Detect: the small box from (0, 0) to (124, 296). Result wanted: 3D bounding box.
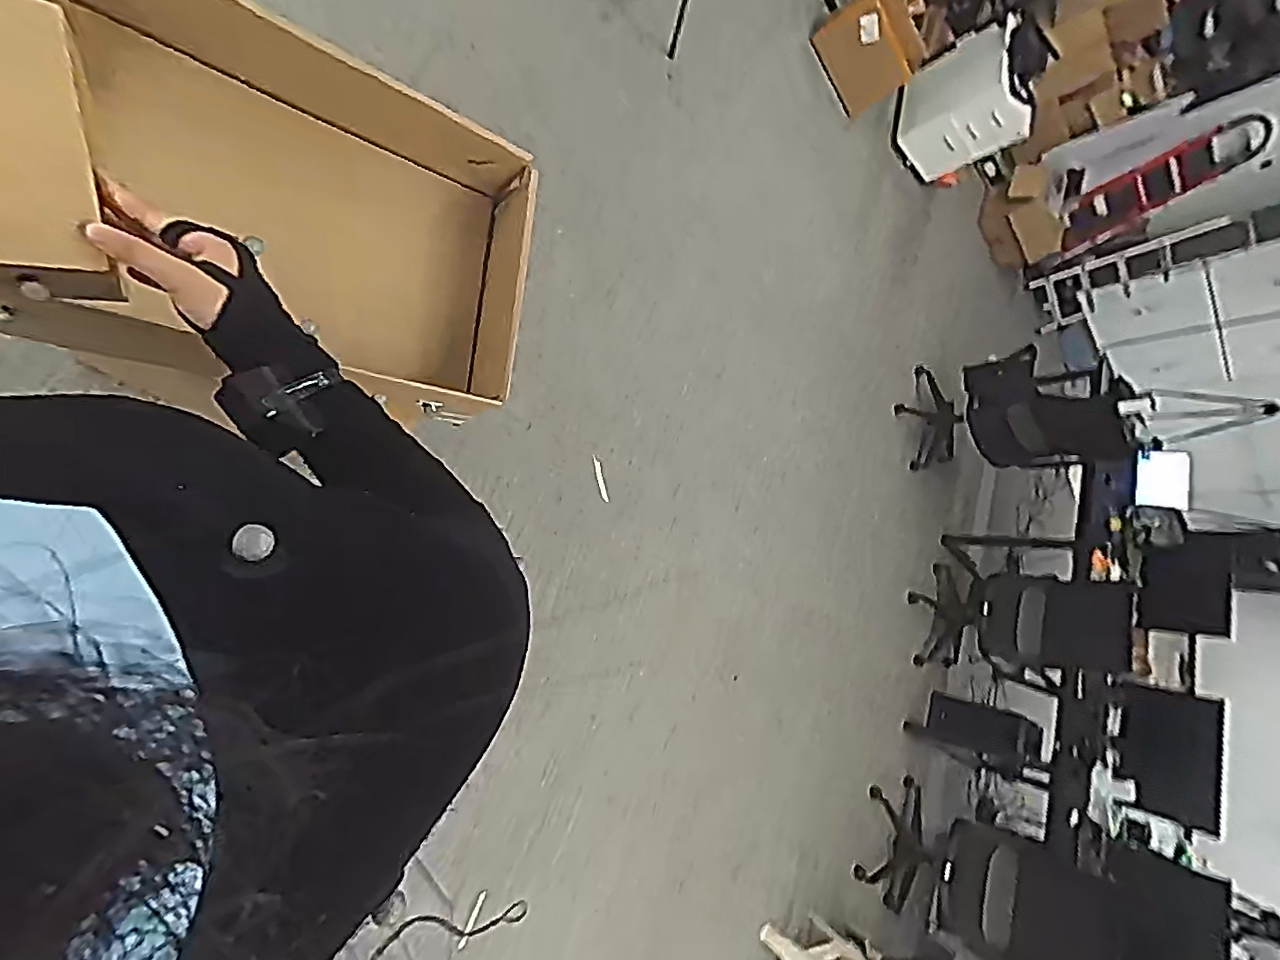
[{"bbox_3d":[-0.487,-0.225,0.372,0.179,0.176,0.168,-10,104,-39],"label":"small box"}]
